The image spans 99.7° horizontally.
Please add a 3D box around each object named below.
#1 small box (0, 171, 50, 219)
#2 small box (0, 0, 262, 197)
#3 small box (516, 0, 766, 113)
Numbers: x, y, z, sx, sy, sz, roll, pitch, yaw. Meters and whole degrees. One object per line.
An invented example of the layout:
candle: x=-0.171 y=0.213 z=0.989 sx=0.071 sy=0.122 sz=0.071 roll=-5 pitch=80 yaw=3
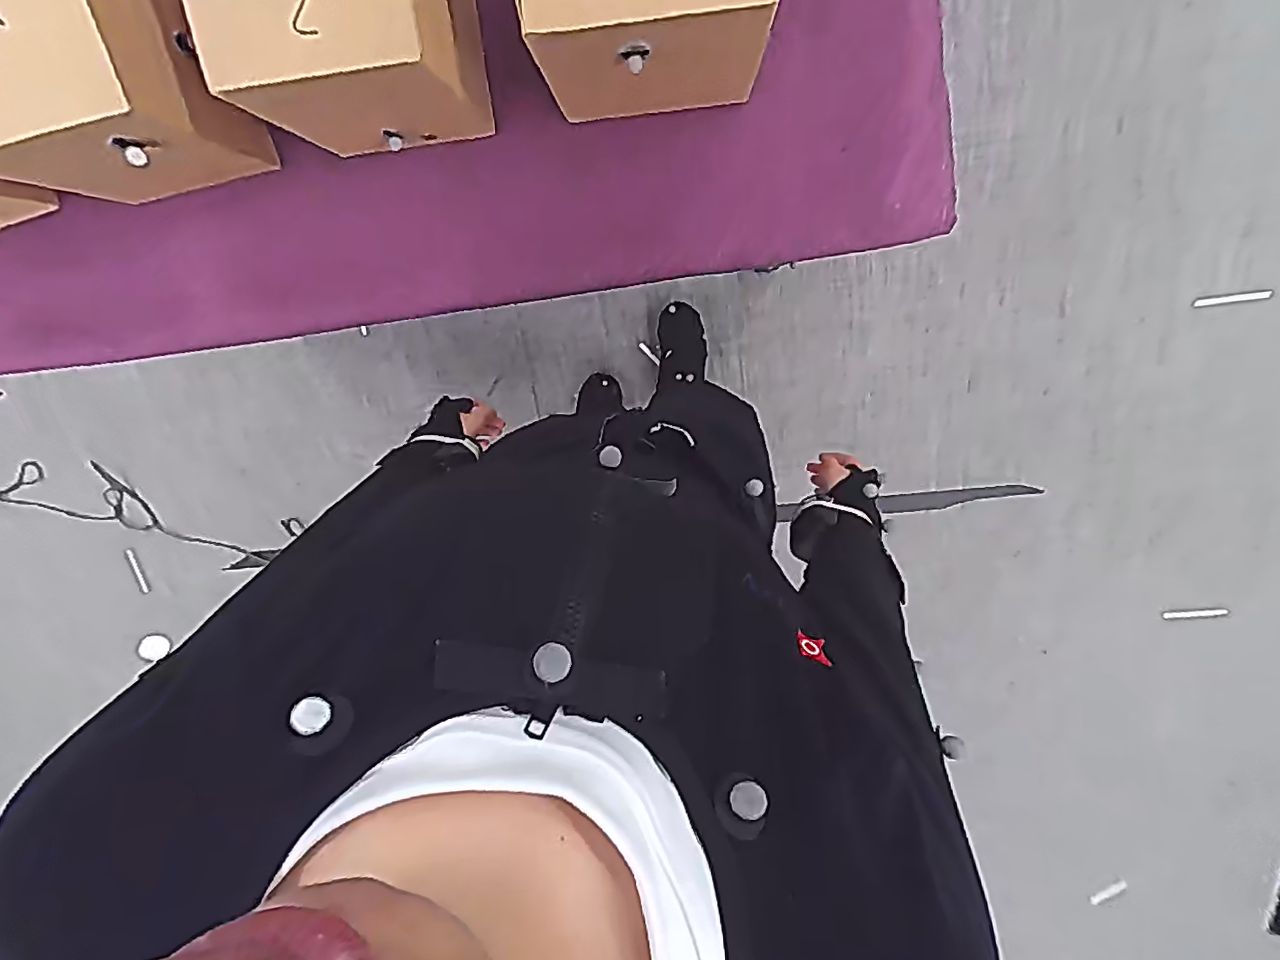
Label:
small box: x=-0.726 y=-0.334 z=0.493 sx=0.168 sy=0.176 sz=0.179 roll=-13 pitch=106 yaw=7
small box: x=-0.473 y=-0.364 z=0.466 sx=0.179 sy=0.176 sz=0.168 roll=-10 pitch=106 yaw=6
small box: x=0.003 y=-0.412 z=0.420 sx=0.179 sy=0.176 sz=0.168 roll=-4 pitch=106 yaw=4
